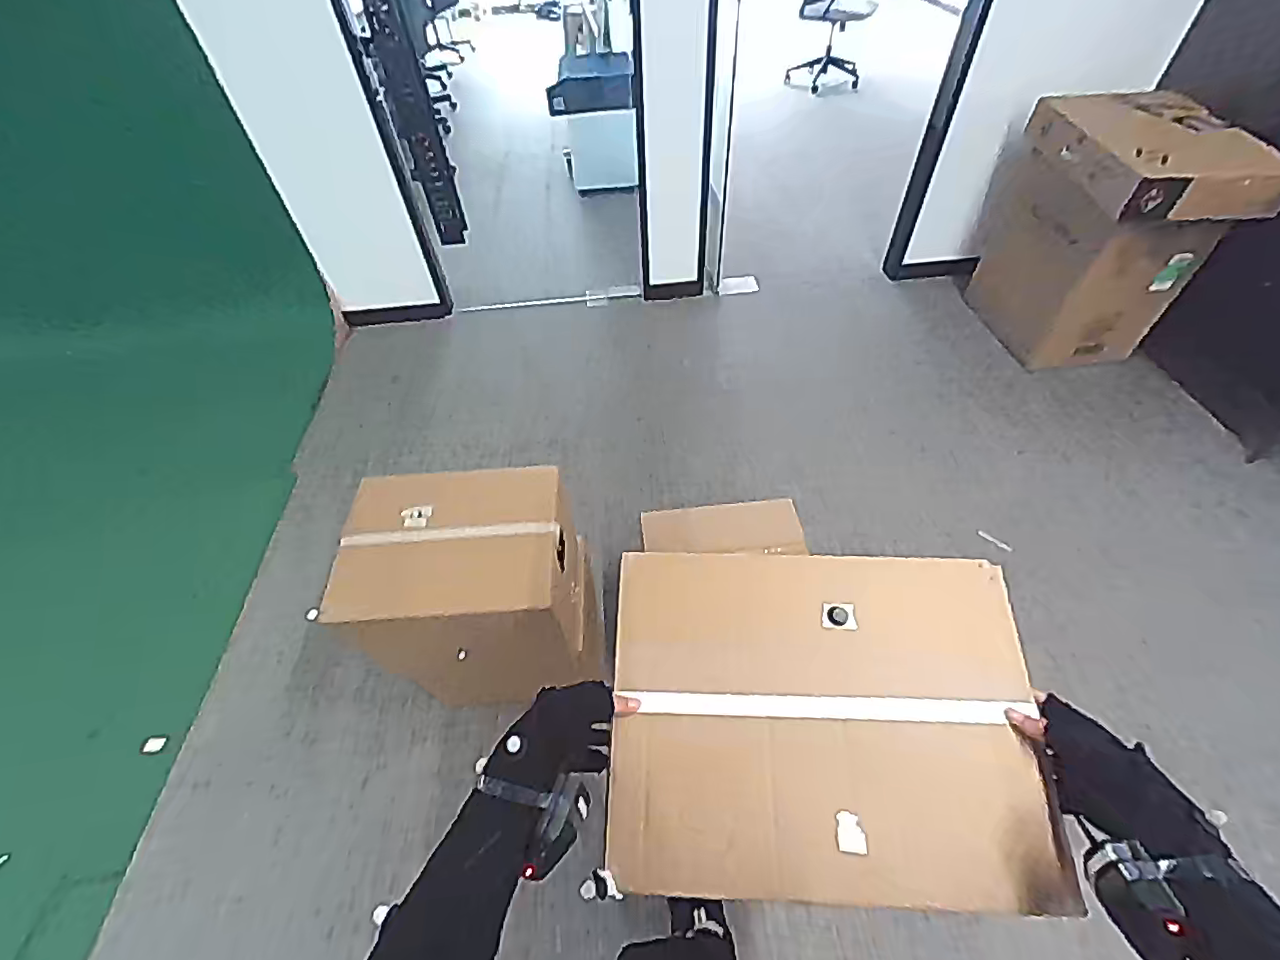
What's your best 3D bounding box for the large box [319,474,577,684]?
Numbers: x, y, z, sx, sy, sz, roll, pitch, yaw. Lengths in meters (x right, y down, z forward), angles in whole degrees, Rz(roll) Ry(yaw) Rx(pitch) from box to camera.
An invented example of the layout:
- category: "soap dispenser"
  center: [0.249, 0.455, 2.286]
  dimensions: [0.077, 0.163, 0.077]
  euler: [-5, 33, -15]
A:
- category: "large box"
  center: [-0.348, 0.214, 1.123]
  dimensions: [0.408, 0.320, 0.320]
  euler: [-4, 52, 1]
